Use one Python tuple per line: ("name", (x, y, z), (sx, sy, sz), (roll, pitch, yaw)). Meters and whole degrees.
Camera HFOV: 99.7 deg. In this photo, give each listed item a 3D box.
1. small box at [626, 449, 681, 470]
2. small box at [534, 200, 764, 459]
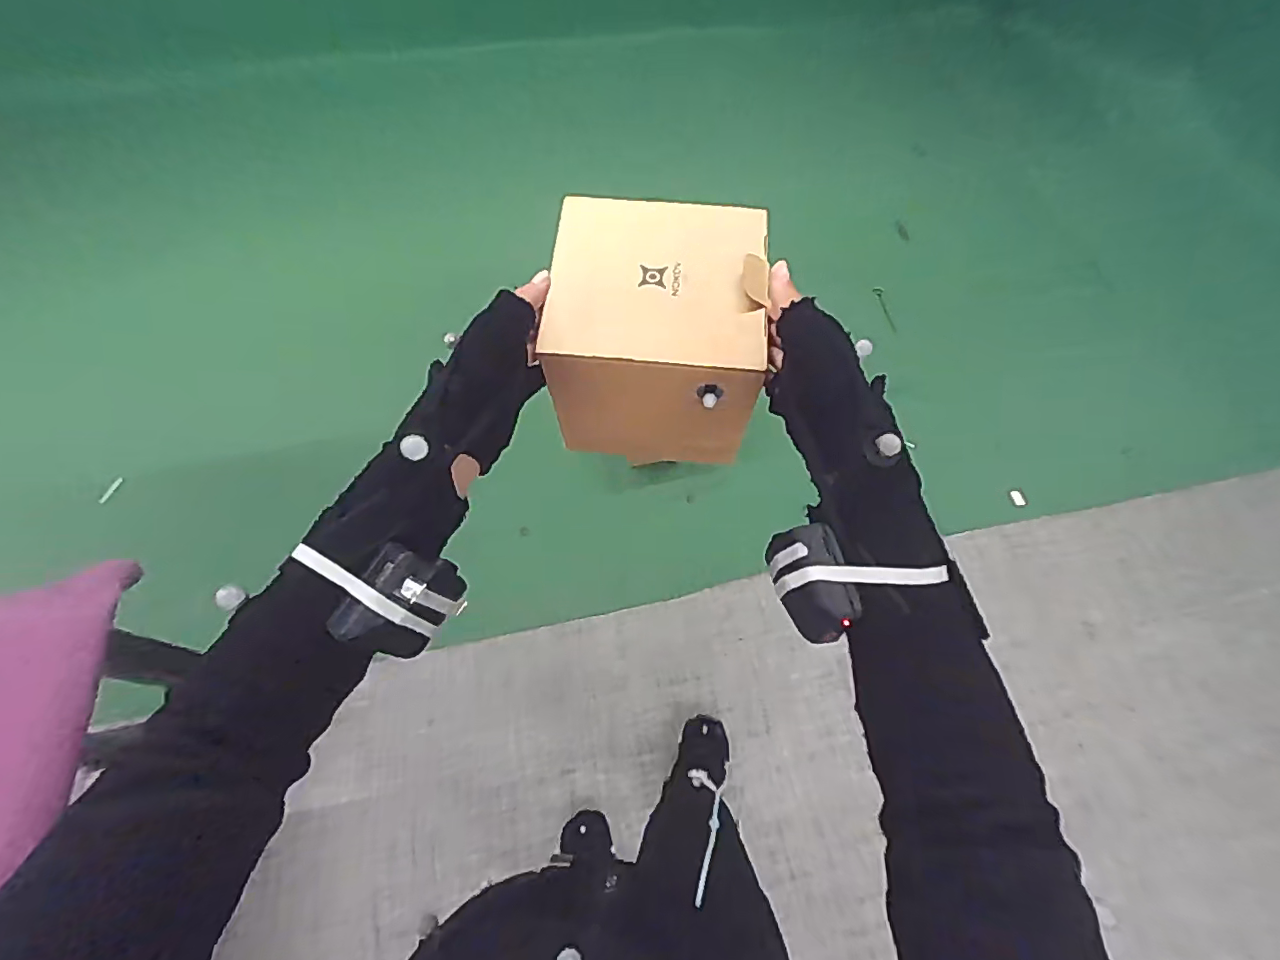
("small box", (0.031, -0.155, 1.630), (0.168, 0.176, 0.179), (-11, 61, -5))
("small box", (0.013, -0.130, 0.508), (0.179, 0.176, 0.168), (4, 66, 1))
